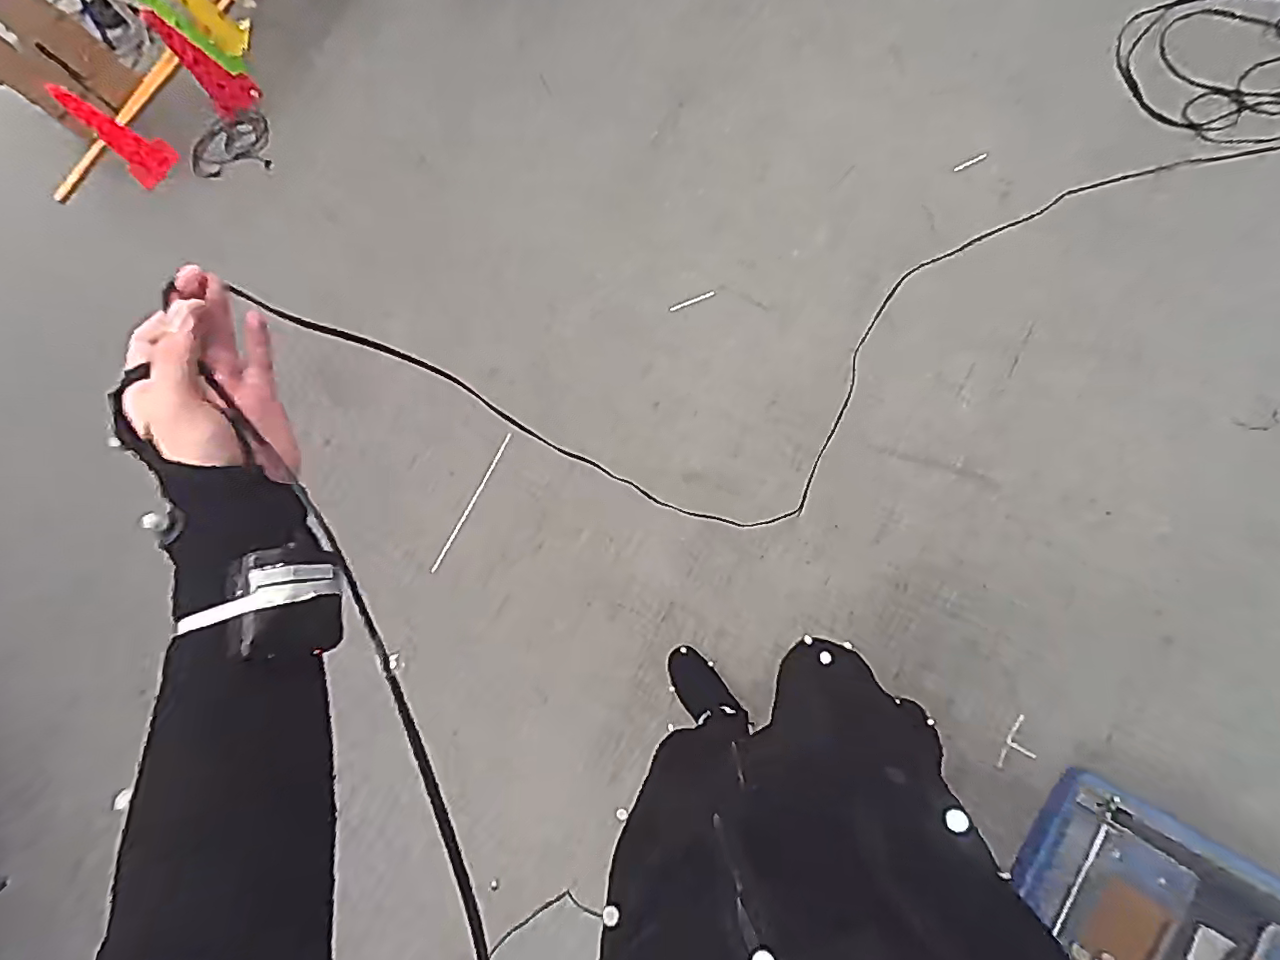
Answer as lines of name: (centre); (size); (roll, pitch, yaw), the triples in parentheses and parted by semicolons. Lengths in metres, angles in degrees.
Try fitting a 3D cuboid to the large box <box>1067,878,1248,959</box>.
large box: (0.941, 0.930, 0.817); (0.408, 0.320, 0.320); (28, 85, 16)
